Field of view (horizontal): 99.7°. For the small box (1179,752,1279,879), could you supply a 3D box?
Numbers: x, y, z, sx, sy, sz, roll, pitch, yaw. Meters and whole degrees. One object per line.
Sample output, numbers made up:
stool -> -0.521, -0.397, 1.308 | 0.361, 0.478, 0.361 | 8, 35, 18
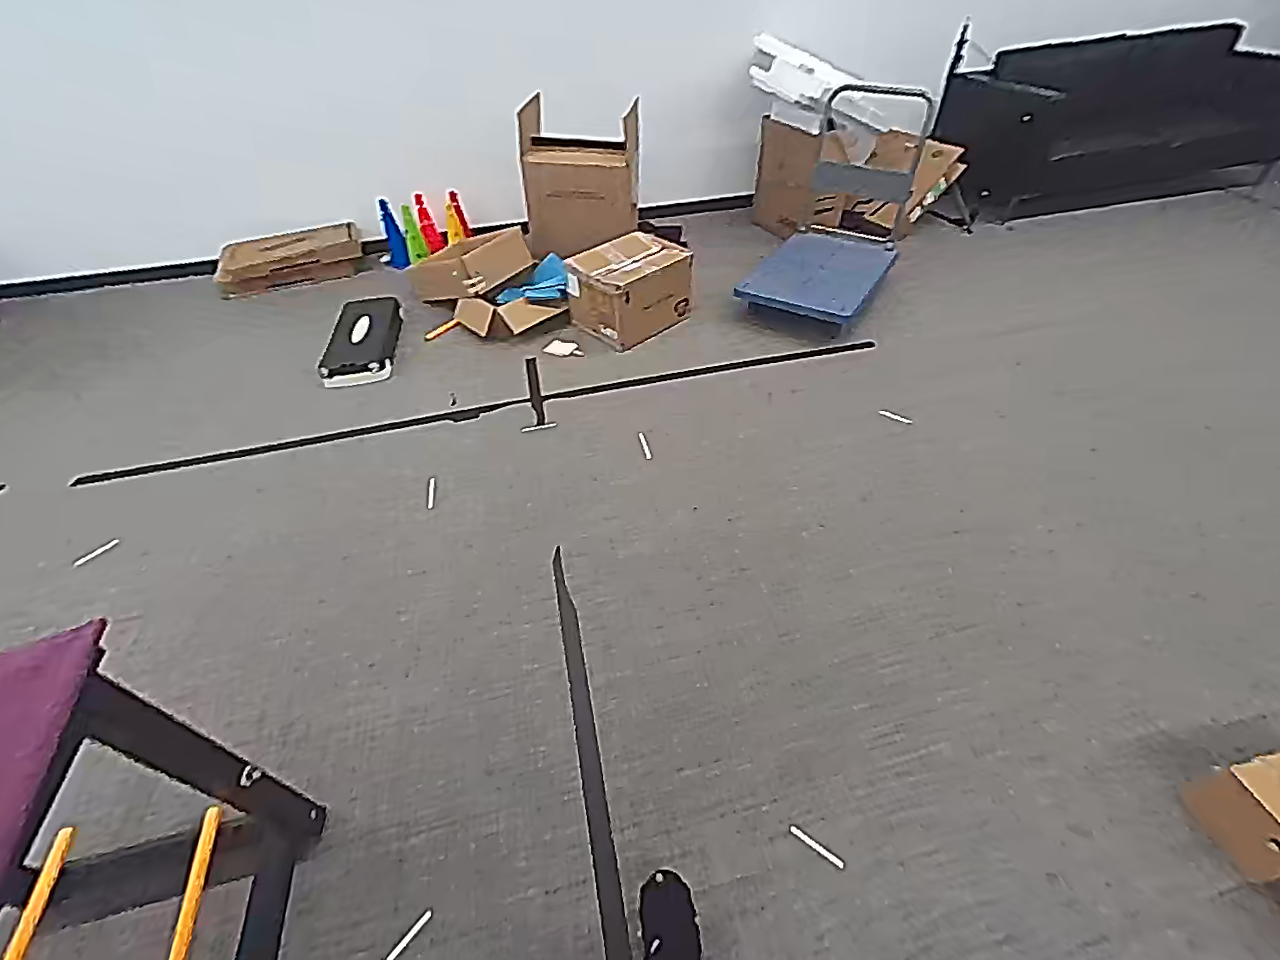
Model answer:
small box -> 1.279, 0.677, 1.090 | 0.168, 0.176, 0.179 | -11, 45, -8
